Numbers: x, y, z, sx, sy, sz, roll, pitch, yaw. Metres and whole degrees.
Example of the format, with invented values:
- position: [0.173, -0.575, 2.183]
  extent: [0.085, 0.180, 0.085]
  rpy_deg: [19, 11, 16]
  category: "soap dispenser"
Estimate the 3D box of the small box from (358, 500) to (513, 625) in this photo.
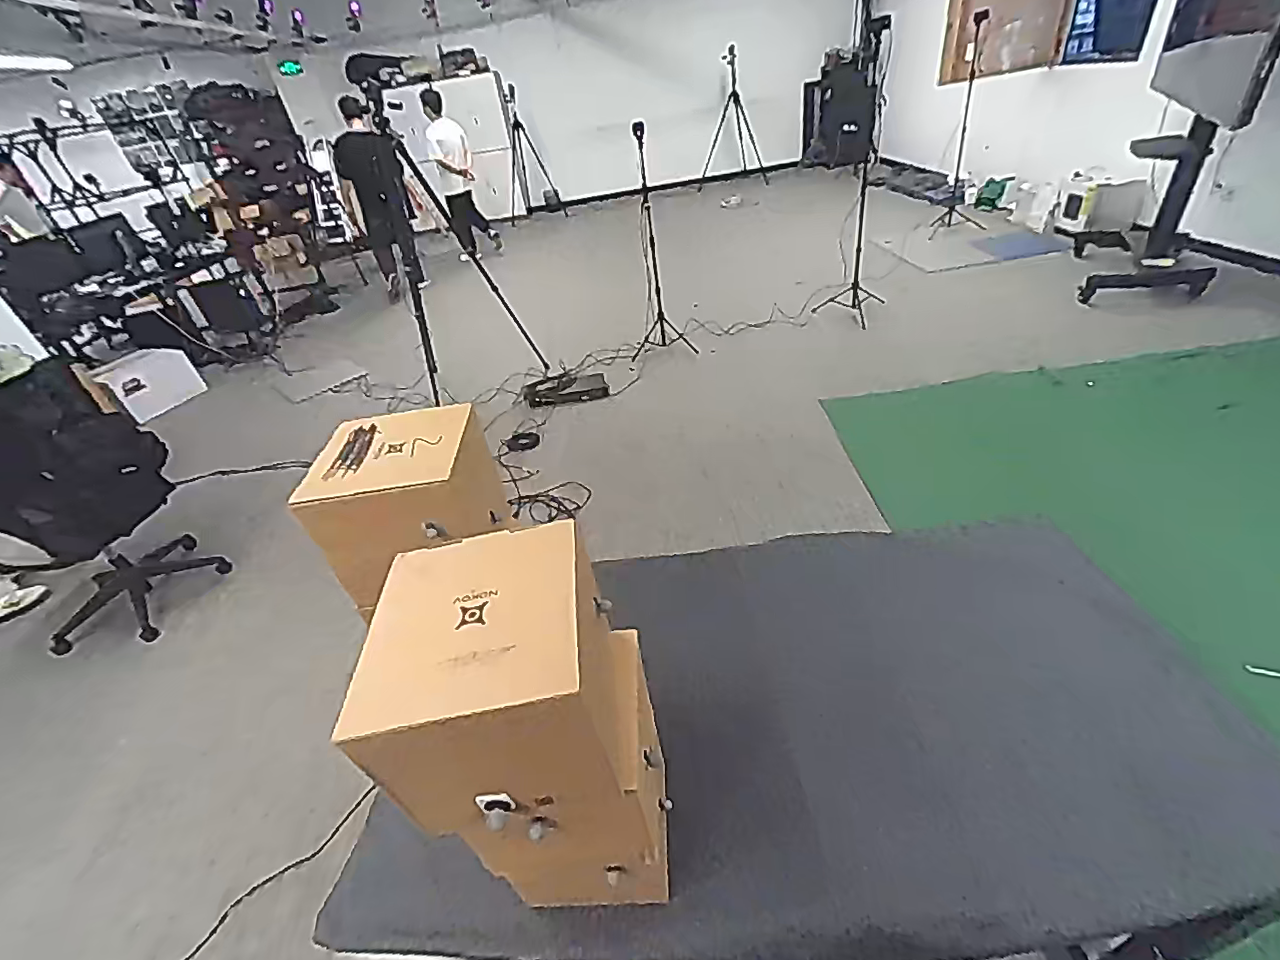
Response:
- position: [-0.259, 0.156, 0.777]
  extent: [0.179, 0.176, 0.168]
  rpy_deg: [-10, 38, 2]
  category: "small box"

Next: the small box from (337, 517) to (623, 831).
- position: [-0.115, 0.162, 0.464]
  extent: [0.168, 0.176, 0.179]
  rpy_deg: [-12, 38, 1]
  category: "small box"

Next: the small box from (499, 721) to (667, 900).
- position: [-0.059, 0.401, 0.677]
  extent: [0.179, 0.176, 0.168]
  rpy_deg: [-7, 37, 6]
  category: "small box"

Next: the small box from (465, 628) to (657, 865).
- position: [-0.076, 0.280, 0.569]
  extent: [0.179, 0.176, 0.168]
  rpy_deg: [-7, 37, 5]
  category: "small box"
